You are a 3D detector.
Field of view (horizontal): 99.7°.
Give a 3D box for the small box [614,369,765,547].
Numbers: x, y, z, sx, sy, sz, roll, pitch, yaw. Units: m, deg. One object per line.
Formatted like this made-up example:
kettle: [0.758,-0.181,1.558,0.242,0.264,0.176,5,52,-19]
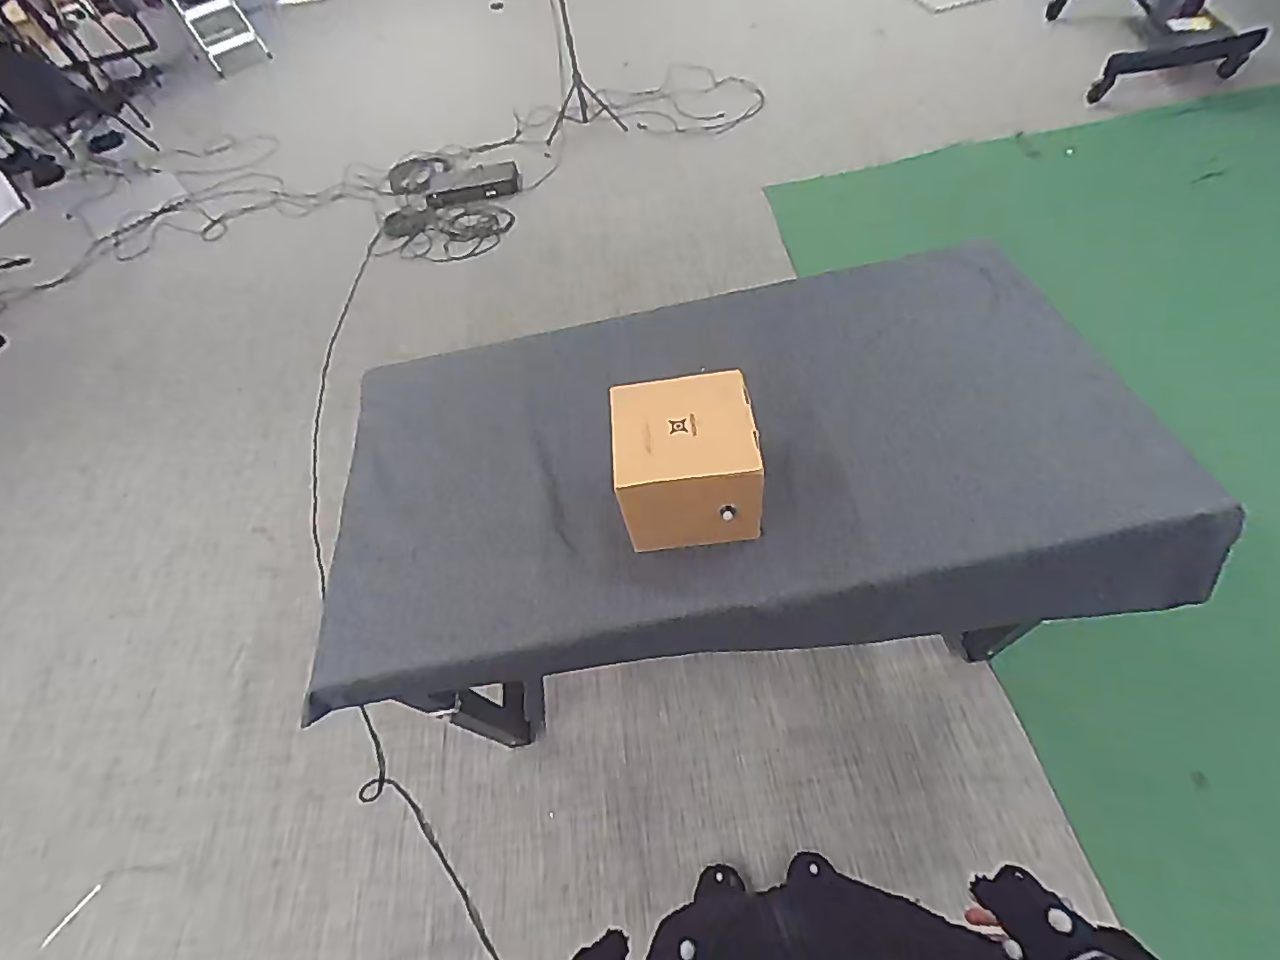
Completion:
small box: [0.065,-0.024,0.736,0.179,0.176,0.168,-8,54,5]
